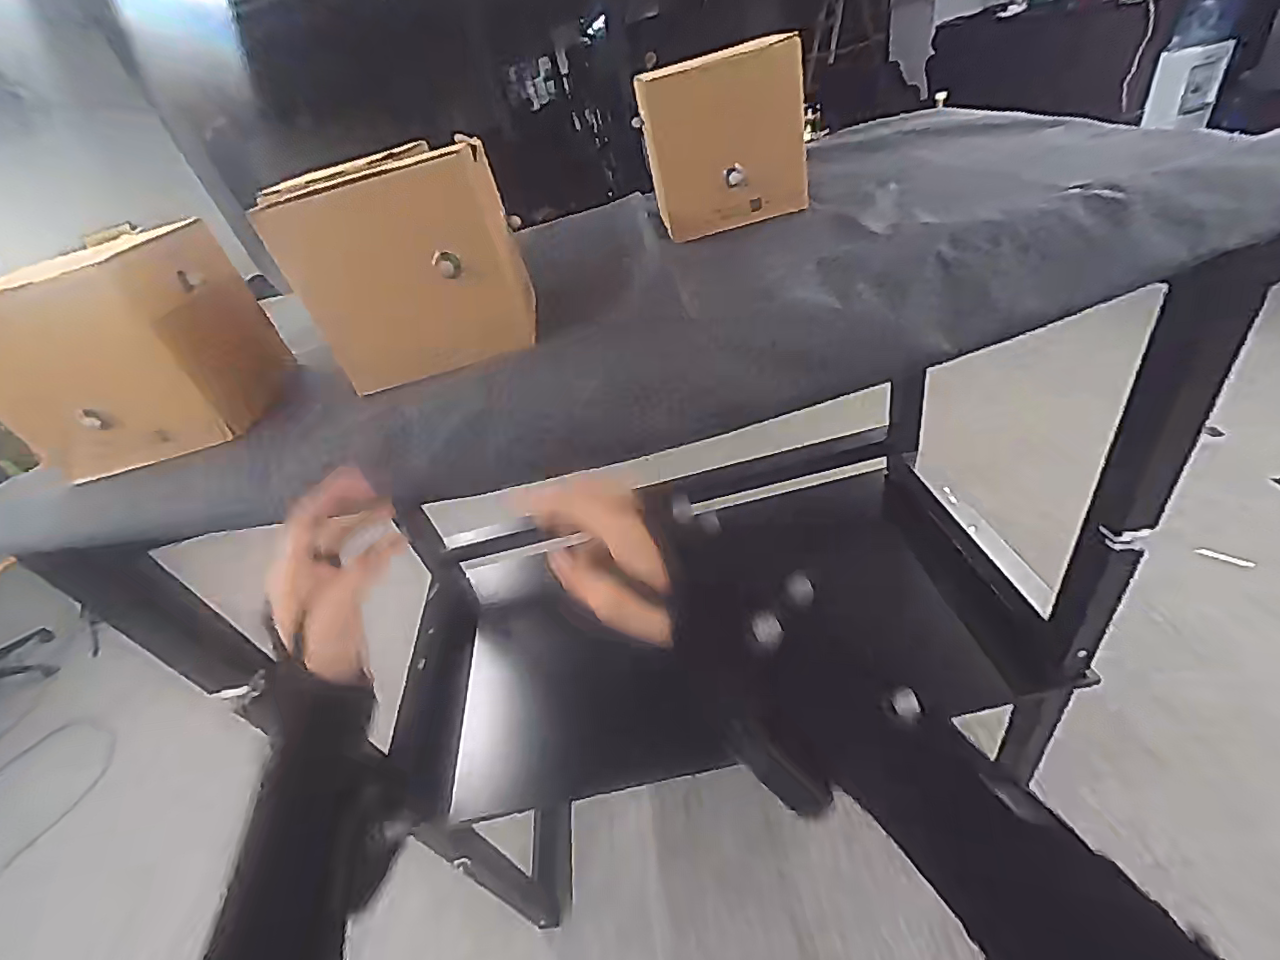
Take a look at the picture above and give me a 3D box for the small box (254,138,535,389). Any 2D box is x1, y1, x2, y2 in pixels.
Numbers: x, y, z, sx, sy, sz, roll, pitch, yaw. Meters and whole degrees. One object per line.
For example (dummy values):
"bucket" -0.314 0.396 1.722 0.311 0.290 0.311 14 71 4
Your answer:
"small box" -0.210 -0.212 0.528 0.179 0.176 0.168 -16 35 1

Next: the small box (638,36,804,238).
"small box" 0.098 -0.420 0.672 0.168 0.176 0.179 -13 37 6

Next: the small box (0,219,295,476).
"small box" -0.482 -0.131 0.530 0.168 0.176 0.179 -17 38 0
